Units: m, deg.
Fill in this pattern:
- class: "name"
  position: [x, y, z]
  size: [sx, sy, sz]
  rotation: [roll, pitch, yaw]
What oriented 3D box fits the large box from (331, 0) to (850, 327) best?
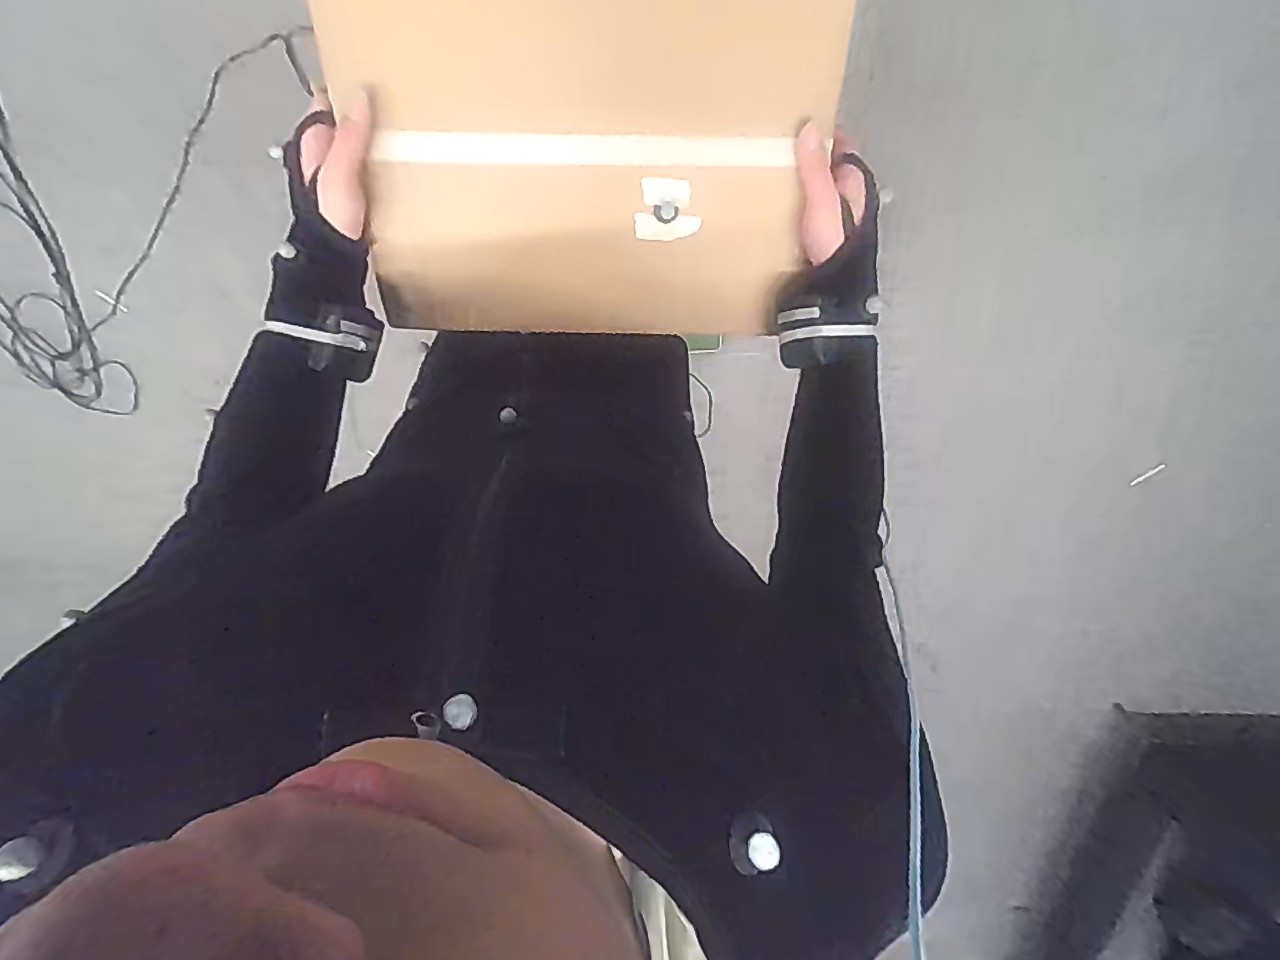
- class: "large box"
  position: [-0.042, -0.364, 0.588]
  size: [0.408, 0.320, 0.320]
  rotation: [0, 123, -2]
